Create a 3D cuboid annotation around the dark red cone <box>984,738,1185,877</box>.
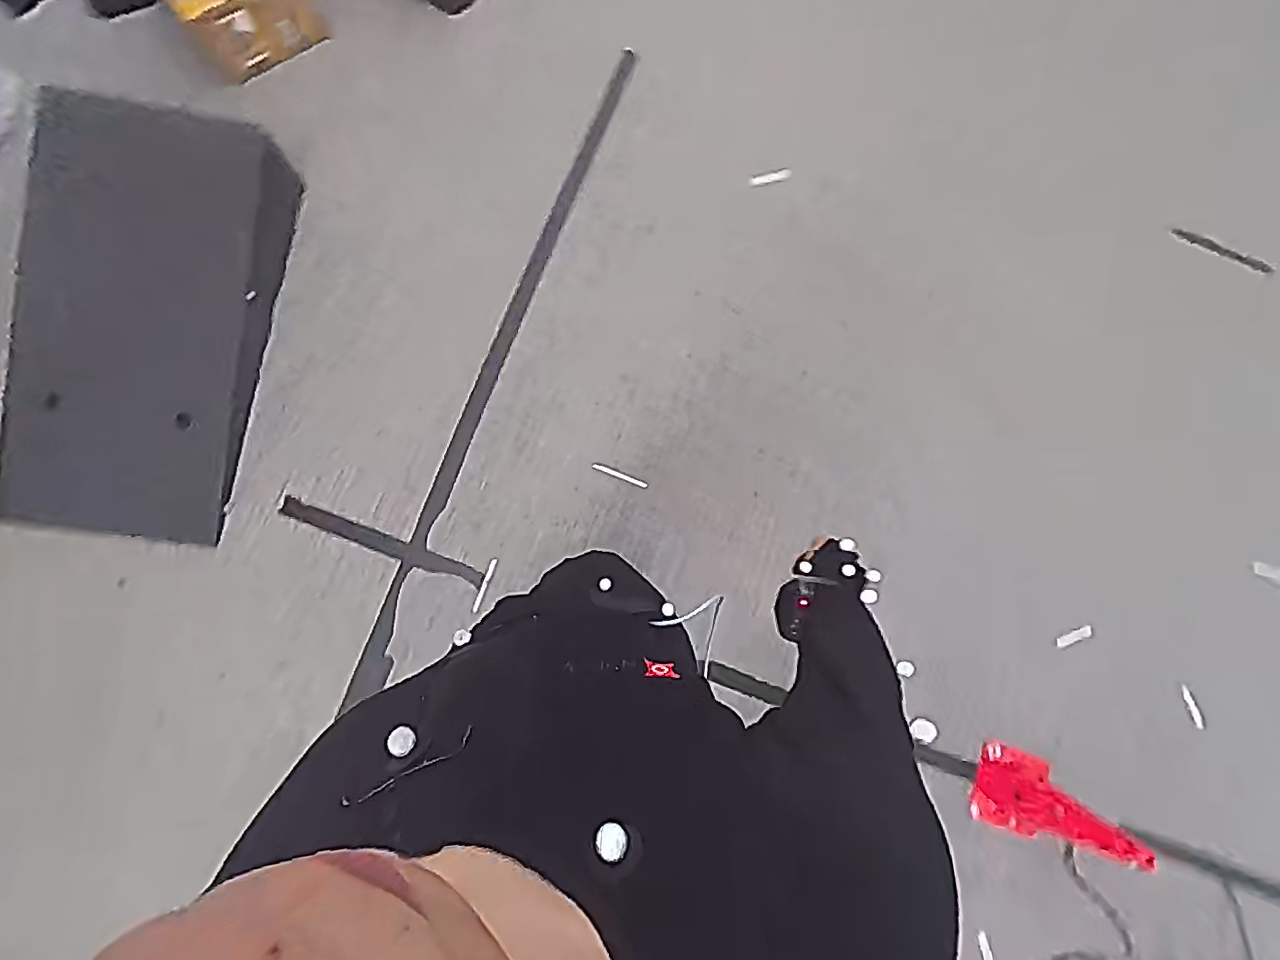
[{"bbox_3d":[1.018,0.773,1.242,0.202,0.394,0.201,21,81,-4],"label":"dark red cone"}]
